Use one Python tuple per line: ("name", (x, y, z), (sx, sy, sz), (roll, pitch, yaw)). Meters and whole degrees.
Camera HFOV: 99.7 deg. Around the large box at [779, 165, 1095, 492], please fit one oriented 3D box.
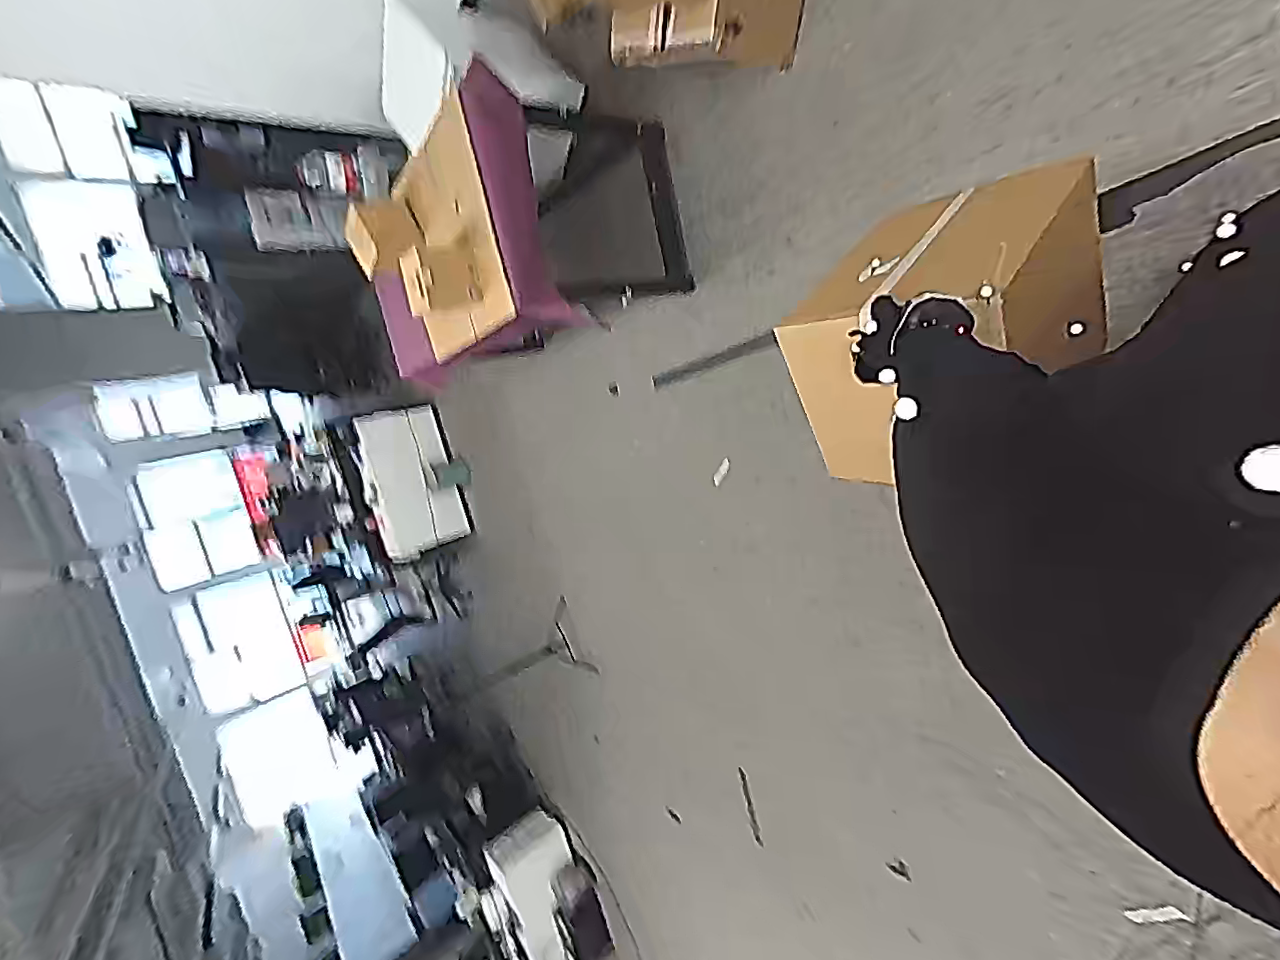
("large box", (0.504, -0.238, 0.894), (0.320, 0.408, 0.320), (9, 138, 52))
